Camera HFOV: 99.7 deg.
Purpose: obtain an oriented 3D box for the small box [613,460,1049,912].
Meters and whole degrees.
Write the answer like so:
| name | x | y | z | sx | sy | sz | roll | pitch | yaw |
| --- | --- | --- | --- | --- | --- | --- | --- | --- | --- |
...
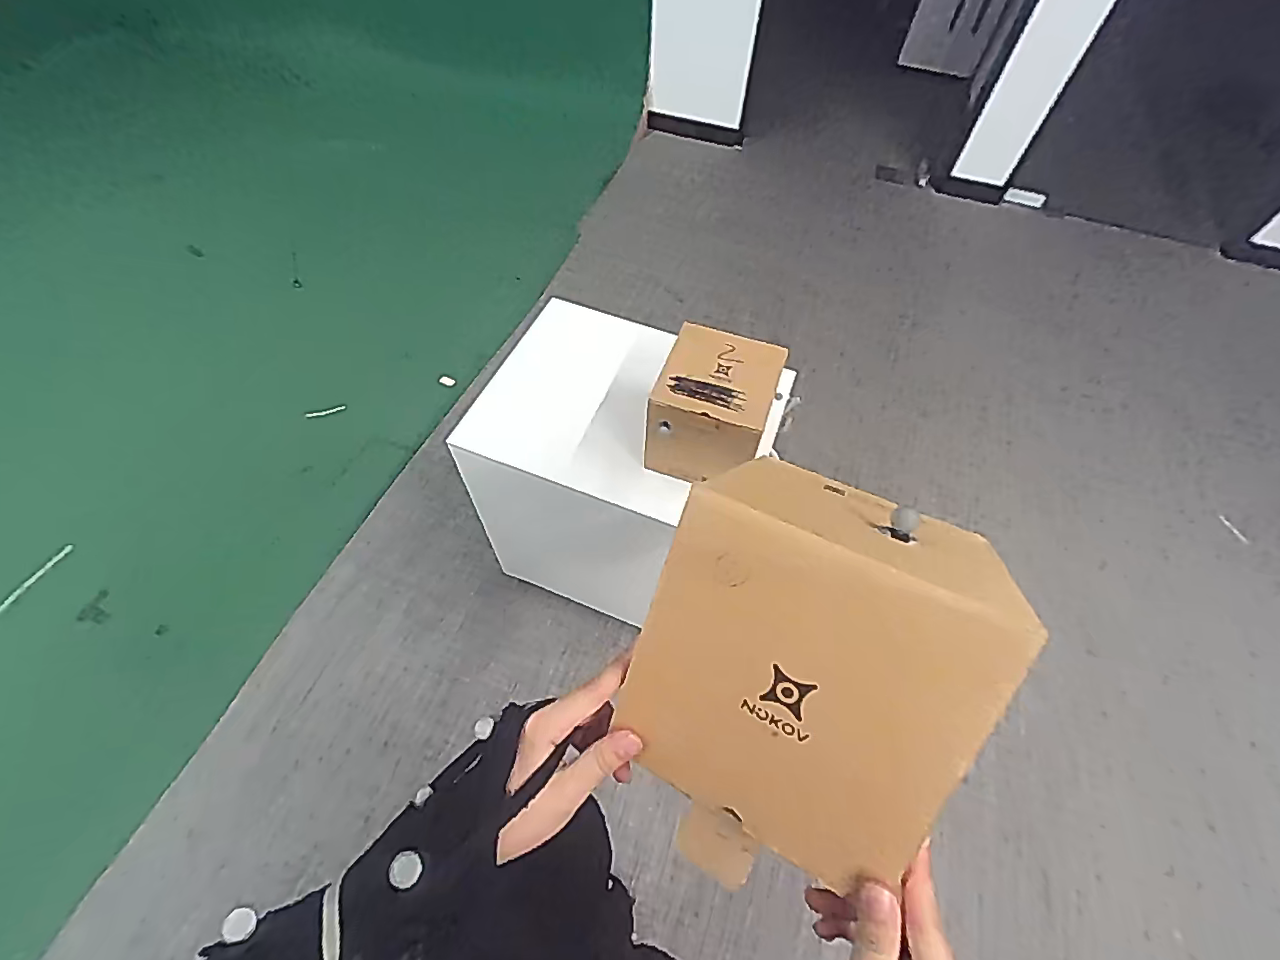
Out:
| name | x | y | z | sx | sy | sz | roll | pitch | yaw |
| --- | --- | --- | --- | --- | --- | --- | --- | --- | --- |
| small box | 0.110 | 0.098 | 0.346 | 0.168 | 0.179 | 0.176 | 23 | 18 | 20 |
